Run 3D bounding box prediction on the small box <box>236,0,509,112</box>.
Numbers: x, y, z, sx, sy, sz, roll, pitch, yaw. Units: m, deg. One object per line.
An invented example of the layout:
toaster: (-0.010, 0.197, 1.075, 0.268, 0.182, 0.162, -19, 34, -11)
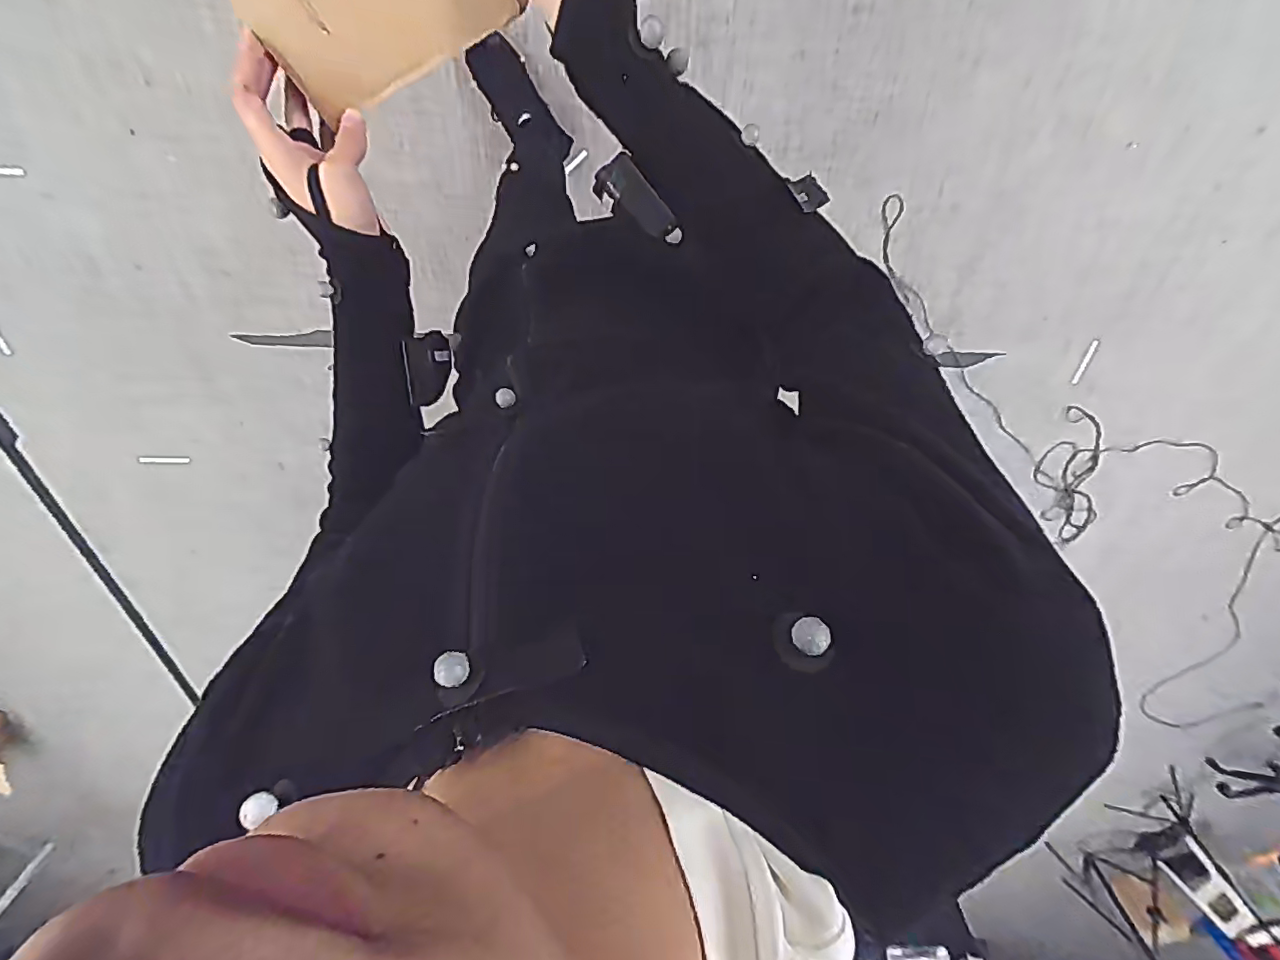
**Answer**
small box: (-0.197, -0.408, 0.375, 0.179, 0.176, 0.168, -19, 139, 15)
